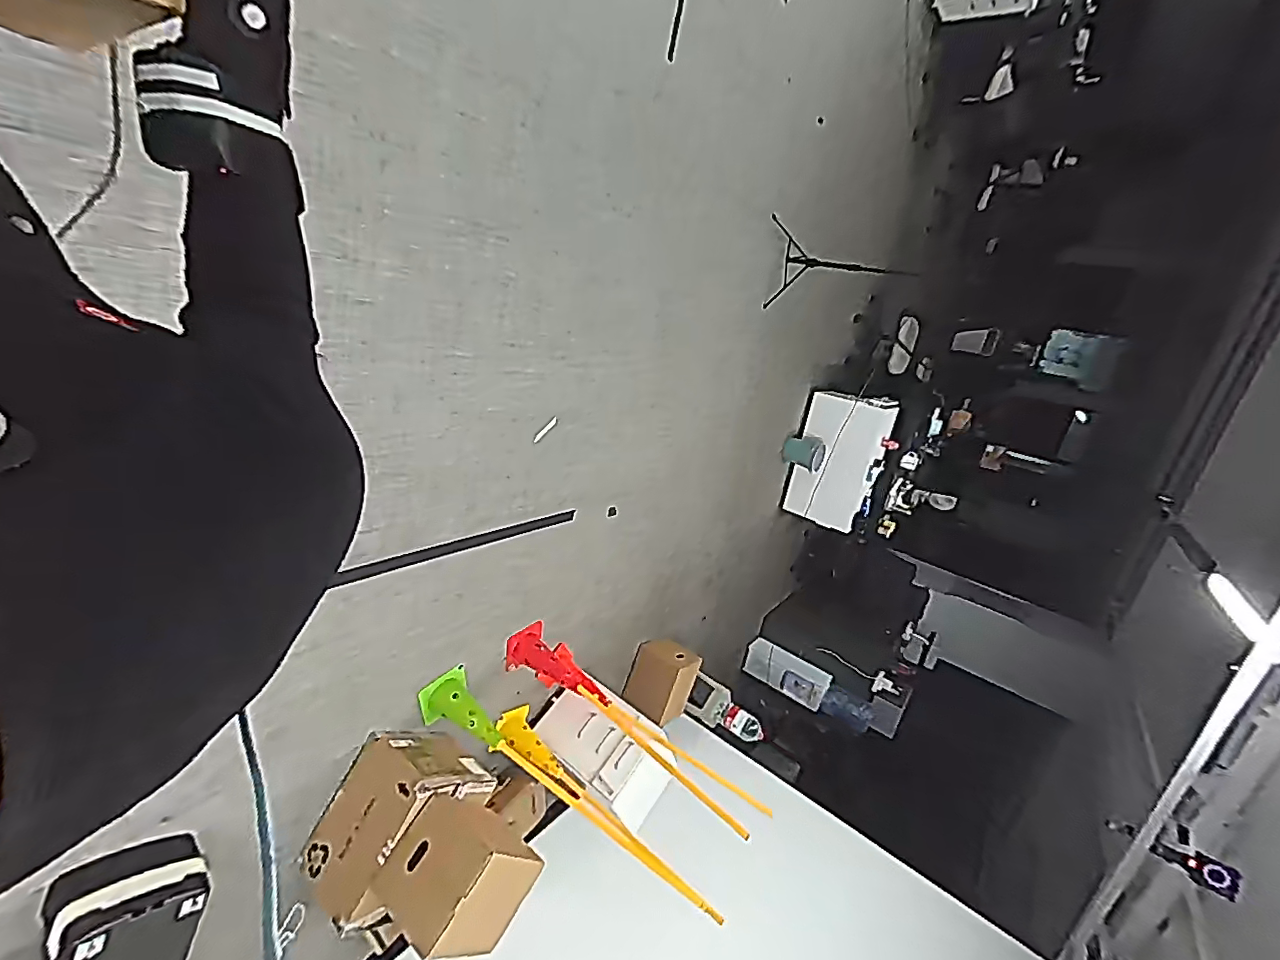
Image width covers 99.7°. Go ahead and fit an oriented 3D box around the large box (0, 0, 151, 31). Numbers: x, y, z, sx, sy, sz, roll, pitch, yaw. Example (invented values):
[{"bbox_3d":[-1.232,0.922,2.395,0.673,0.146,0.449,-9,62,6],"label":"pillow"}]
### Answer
[{"bbox_3d":[-0.507,-0.482,0.231,0.408,0.320,0.320,-14,122,-53],"label":"large box"}]
